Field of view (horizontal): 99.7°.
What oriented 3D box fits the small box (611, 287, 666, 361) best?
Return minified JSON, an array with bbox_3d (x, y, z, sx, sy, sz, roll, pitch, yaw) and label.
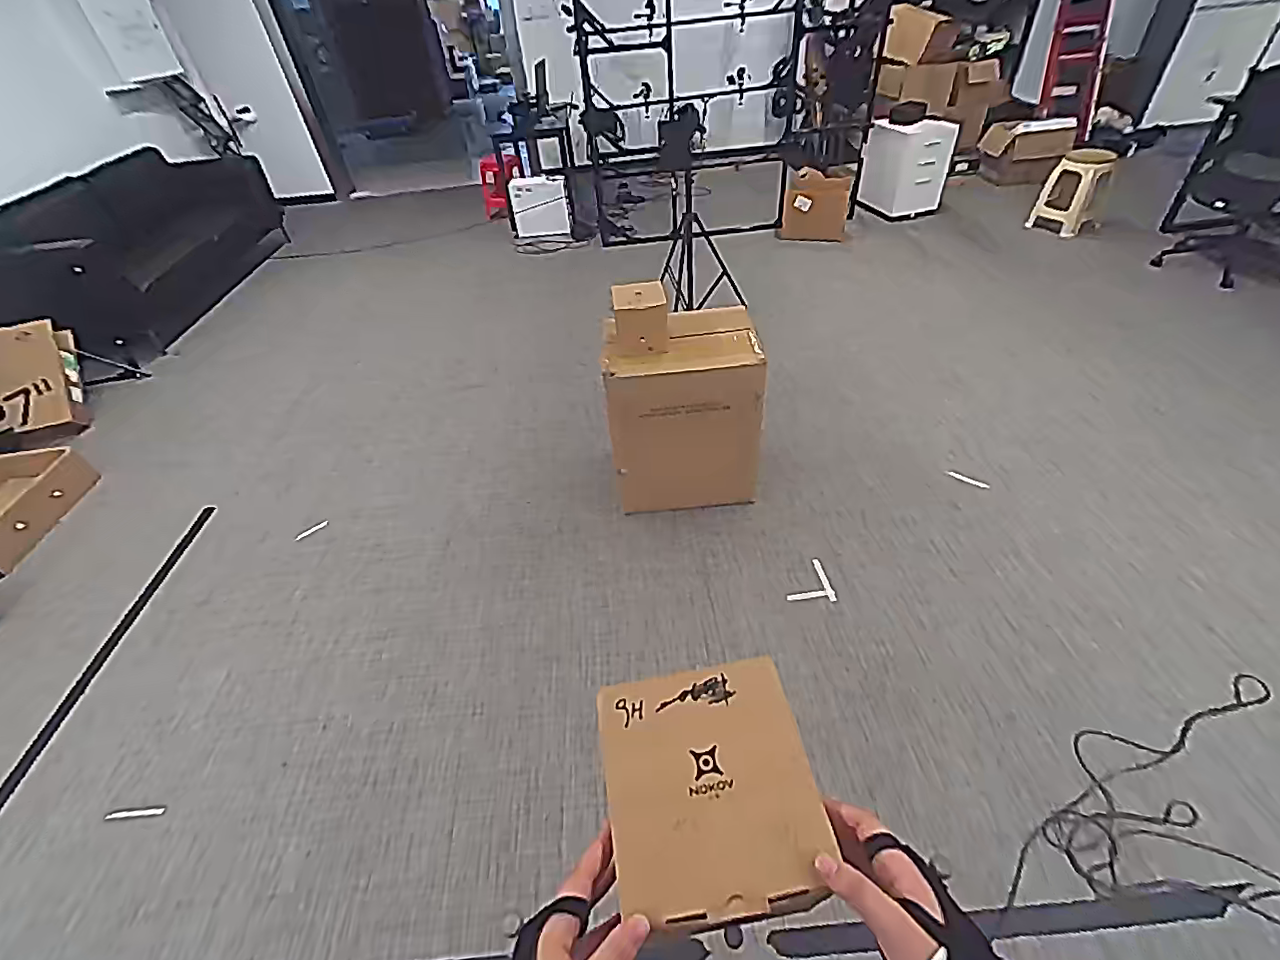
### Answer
[{"bbox_3d":[-0.004,-0.514,1.784,0.168,0.176,0.179,-7,44,-1],"label":"small box"}]
